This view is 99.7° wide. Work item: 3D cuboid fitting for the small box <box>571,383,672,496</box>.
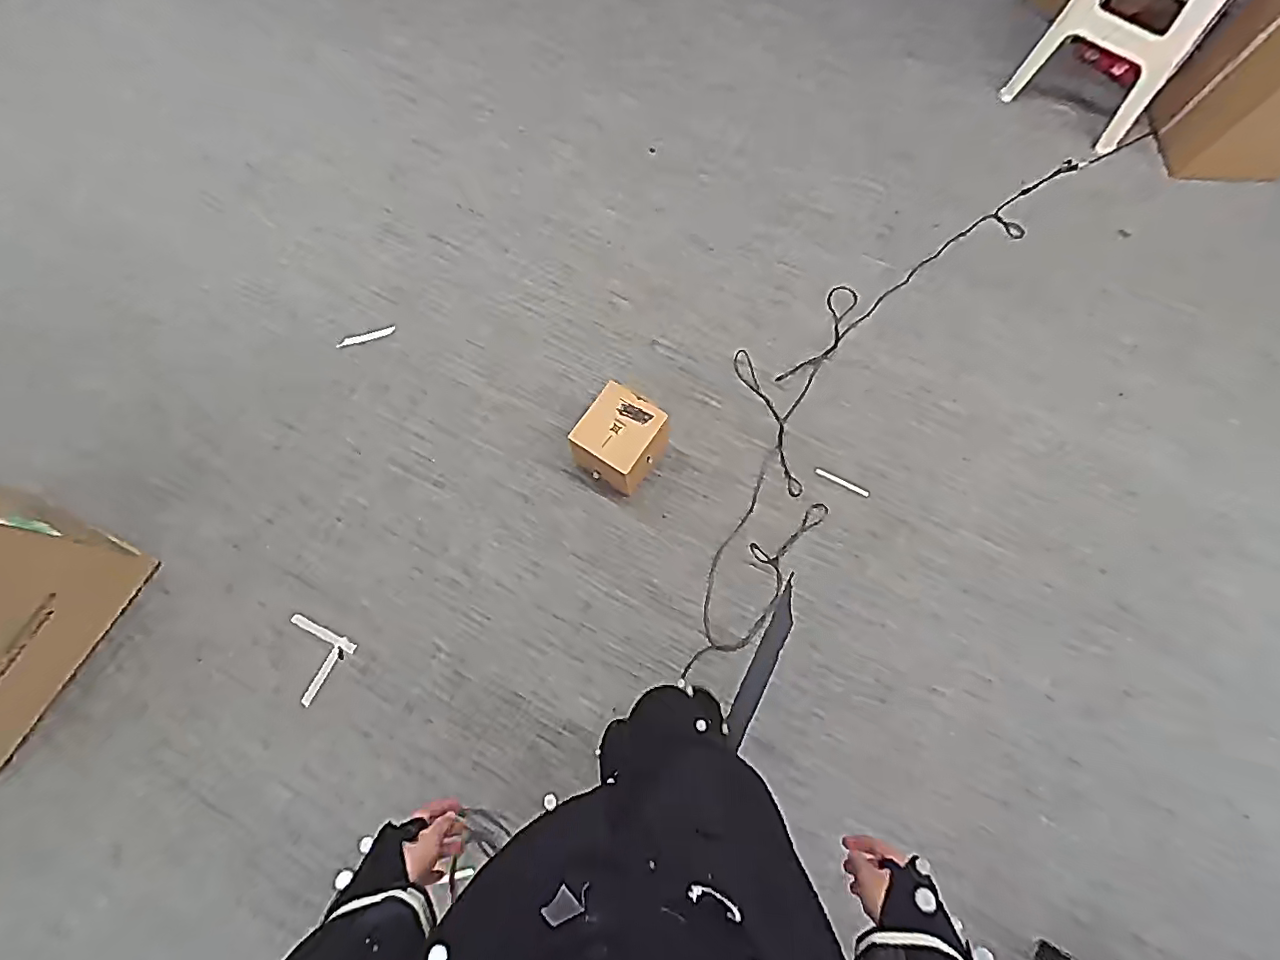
[{"bbox_3d":[-0.041,-0.091,1.292,0.168,0.176,0.179,33,76,12],"label":"small box"}]
